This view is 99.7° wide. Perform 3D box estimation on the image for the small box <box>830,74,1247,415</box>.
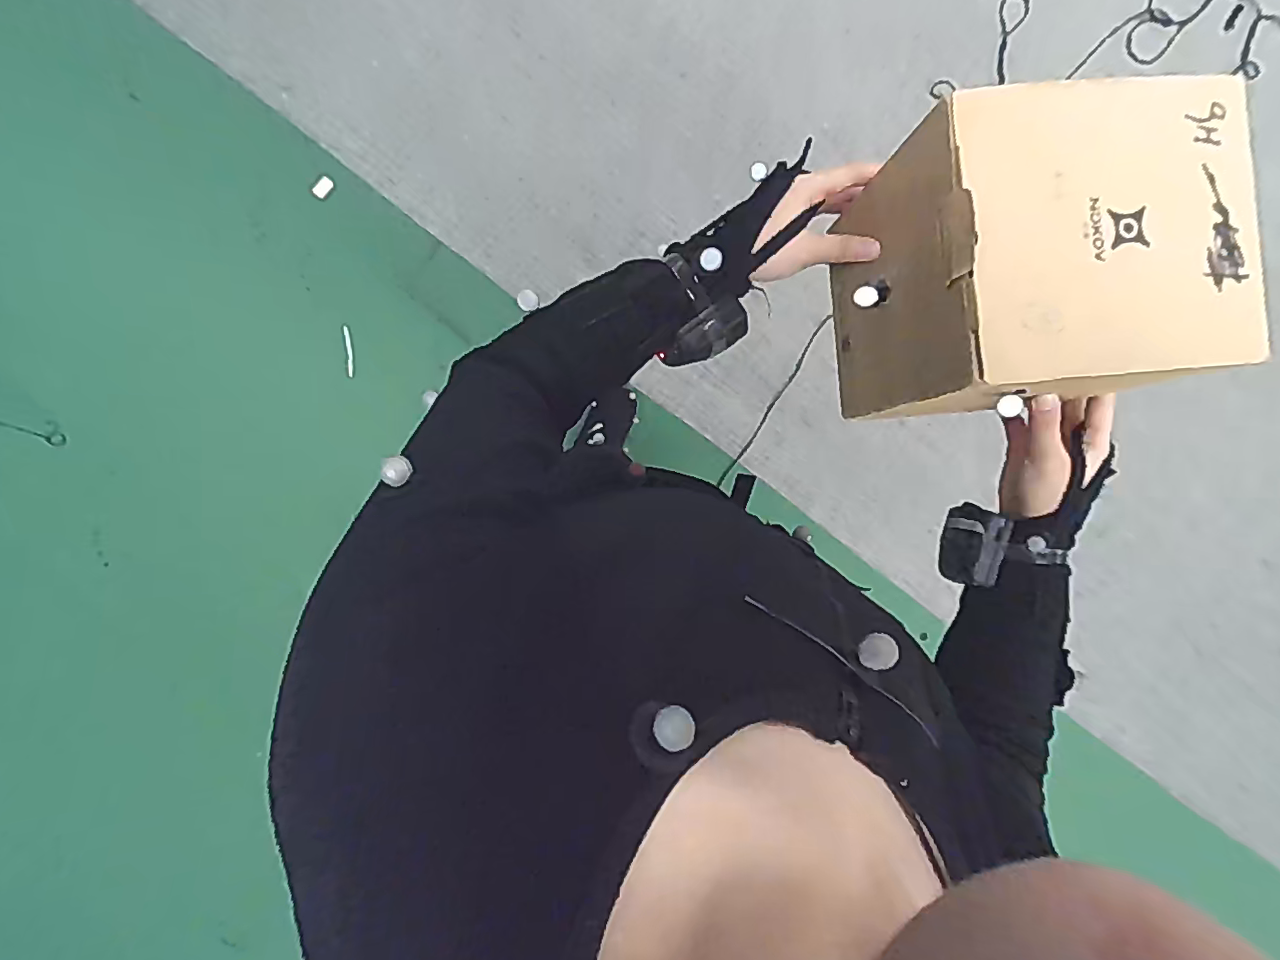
[{"bbox_3d":[0.249,-0.143,0.386,0.179,0.176,0.168,-5,90,-3],"label":"small box"}]
